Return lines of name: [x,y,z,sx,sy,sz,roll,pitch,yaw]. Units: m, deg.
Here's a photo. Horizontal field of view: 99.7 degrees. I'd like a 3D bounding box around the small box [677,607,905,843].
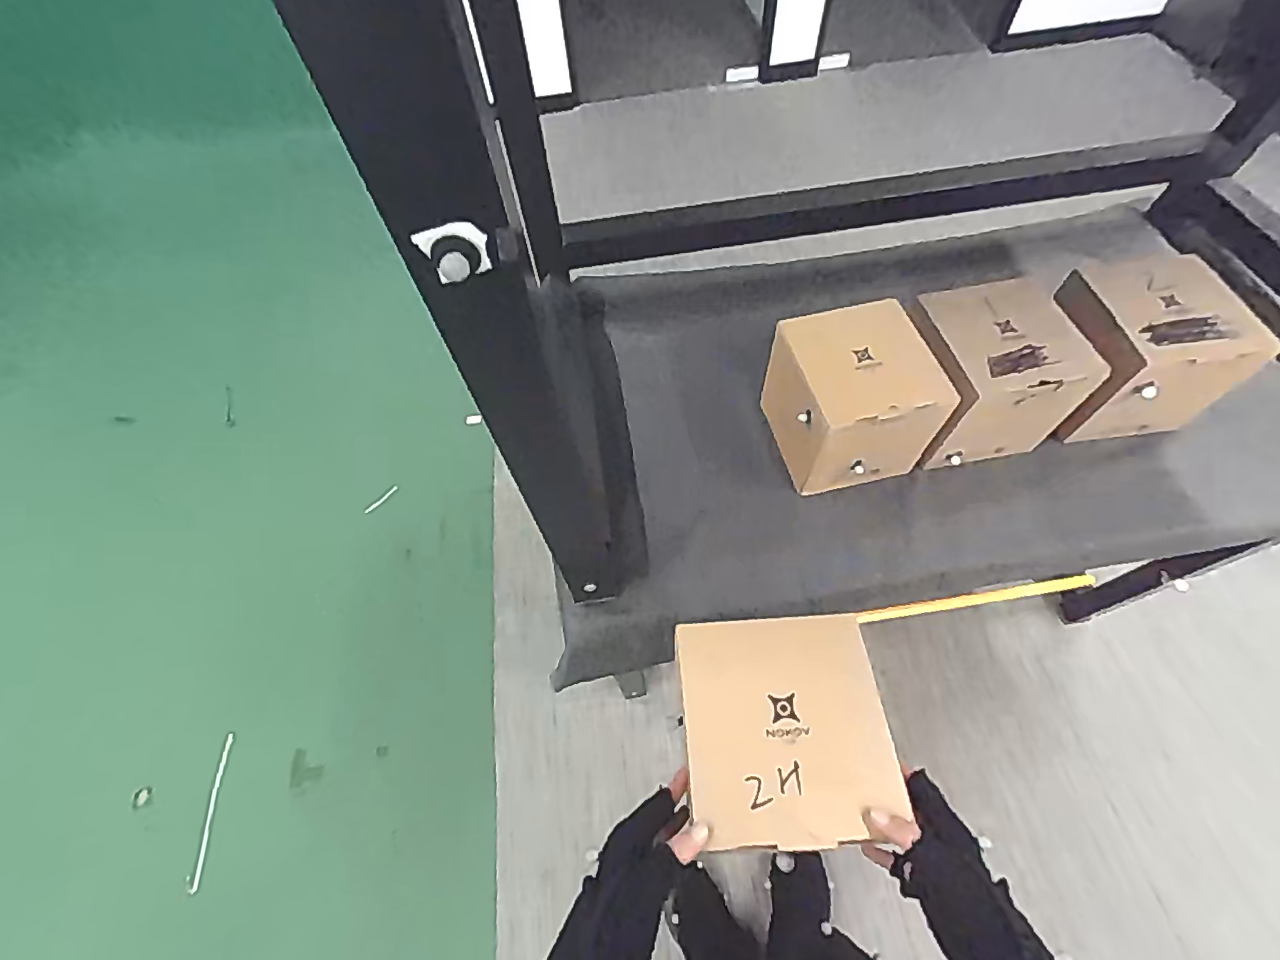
small box: [0.124,0.242,0.529,0.168,0.176,0.179,-4,54,2]
